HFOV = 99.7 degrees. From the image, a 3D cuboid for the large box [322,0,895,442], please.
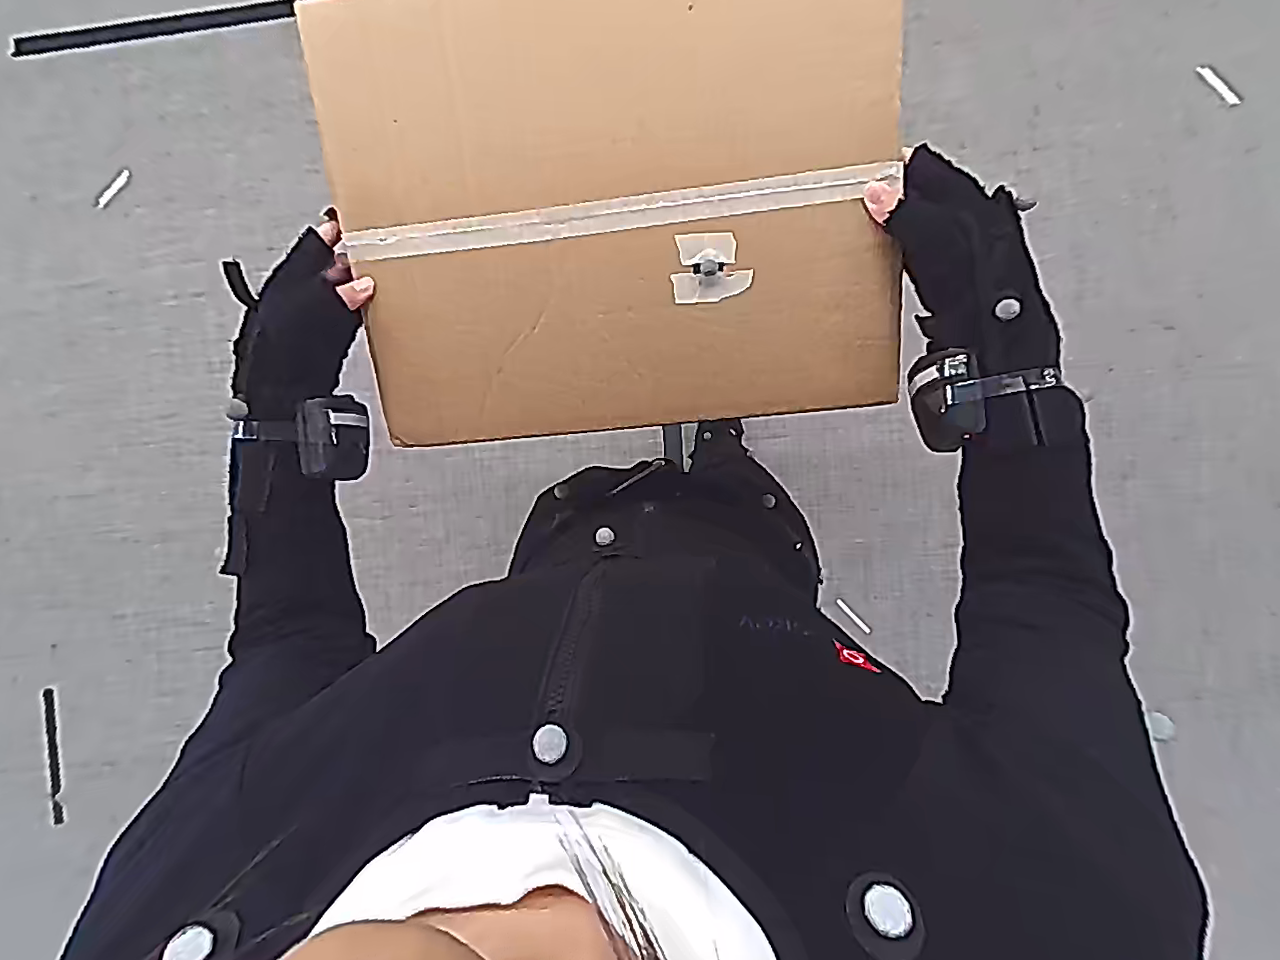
[{"bbox_3d":[-0.009,-0.237,0.549,0.408,0.320,0.320,-6,105,4],"label":"large box"}]
